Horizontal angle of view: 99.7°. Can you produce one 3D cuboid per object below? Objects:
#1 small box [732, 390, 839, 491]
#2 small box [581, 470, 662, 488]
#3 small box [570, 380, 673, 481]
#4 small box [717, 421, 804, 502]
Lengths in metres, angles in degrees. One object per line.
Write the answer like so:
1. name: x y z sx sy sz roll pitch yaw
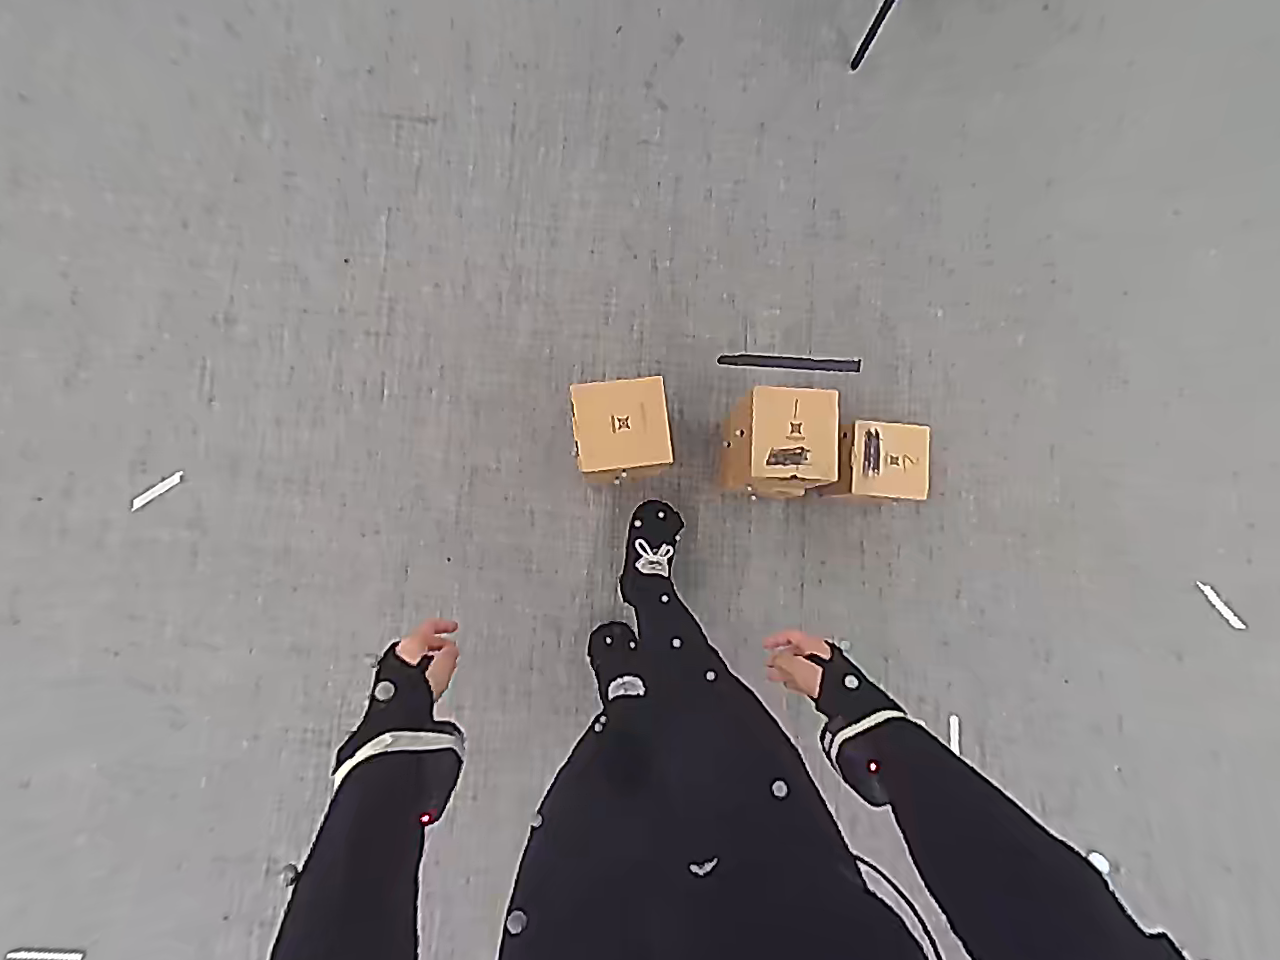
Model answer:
1. small box: 0.285 -0.071 1.087 0.168 0.176 0.179 3 84 -3
2. small box: -0.049 -0.076 1.237 0.179 0.176 0.168 -8 86 -3
3. small box: -0.038 -0.091 1.075 0.179 0.176 0.168 -7 87 -5
4. small box: 0.279 -0.047 1.251 0.168 0.176 0.179 6 85 -2
